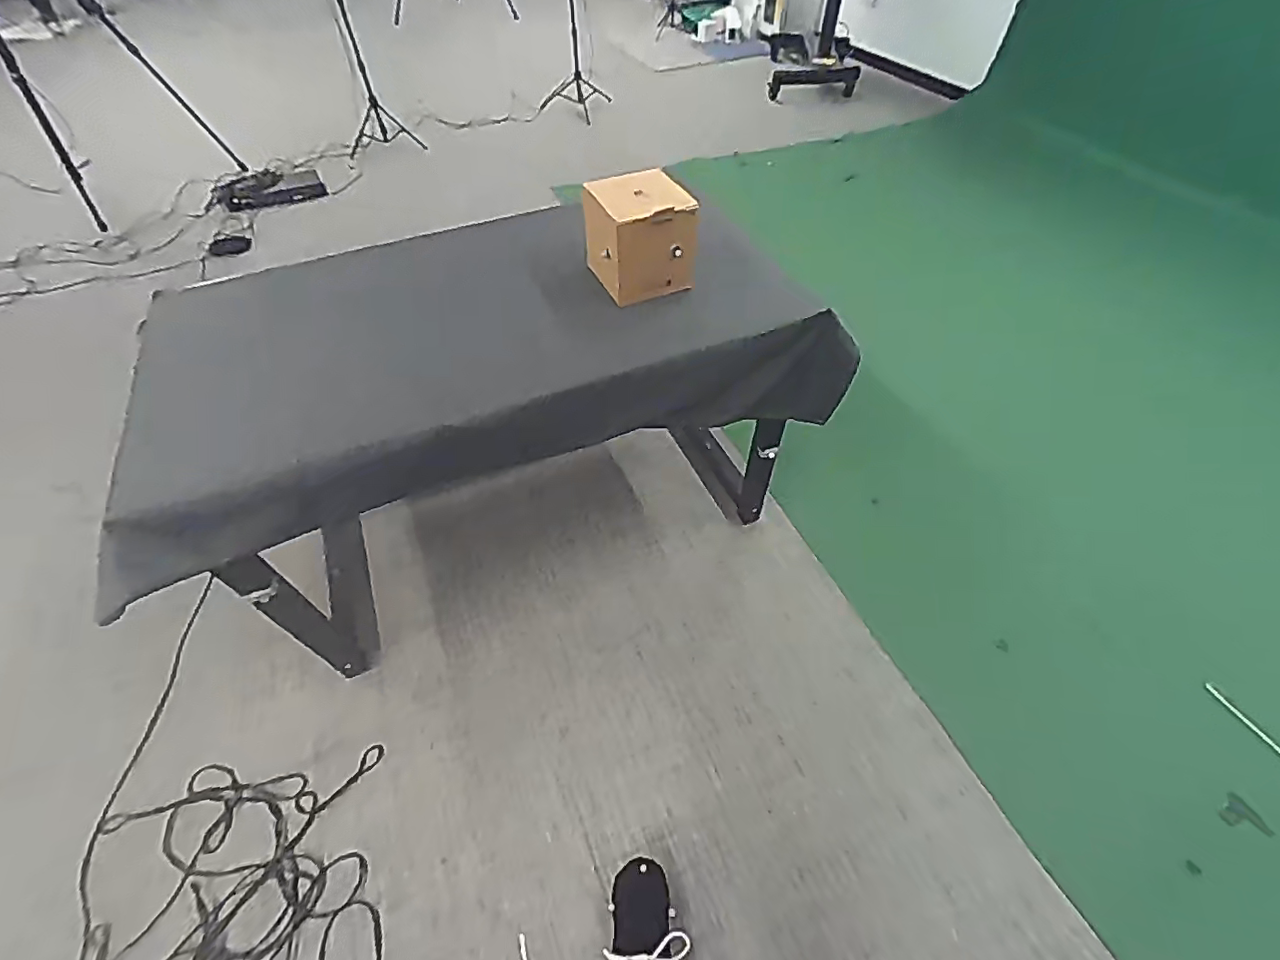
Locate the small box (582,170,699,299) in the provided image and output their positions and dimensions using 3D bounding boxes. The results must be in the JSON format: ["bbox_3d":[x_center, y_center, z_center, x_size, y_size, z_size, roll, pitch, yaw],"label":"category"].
[{"bbox_3d":[0.000,-0.470,1.051,0.168,0.176,0.179,-20,53,-16],"label":"small box"}]
